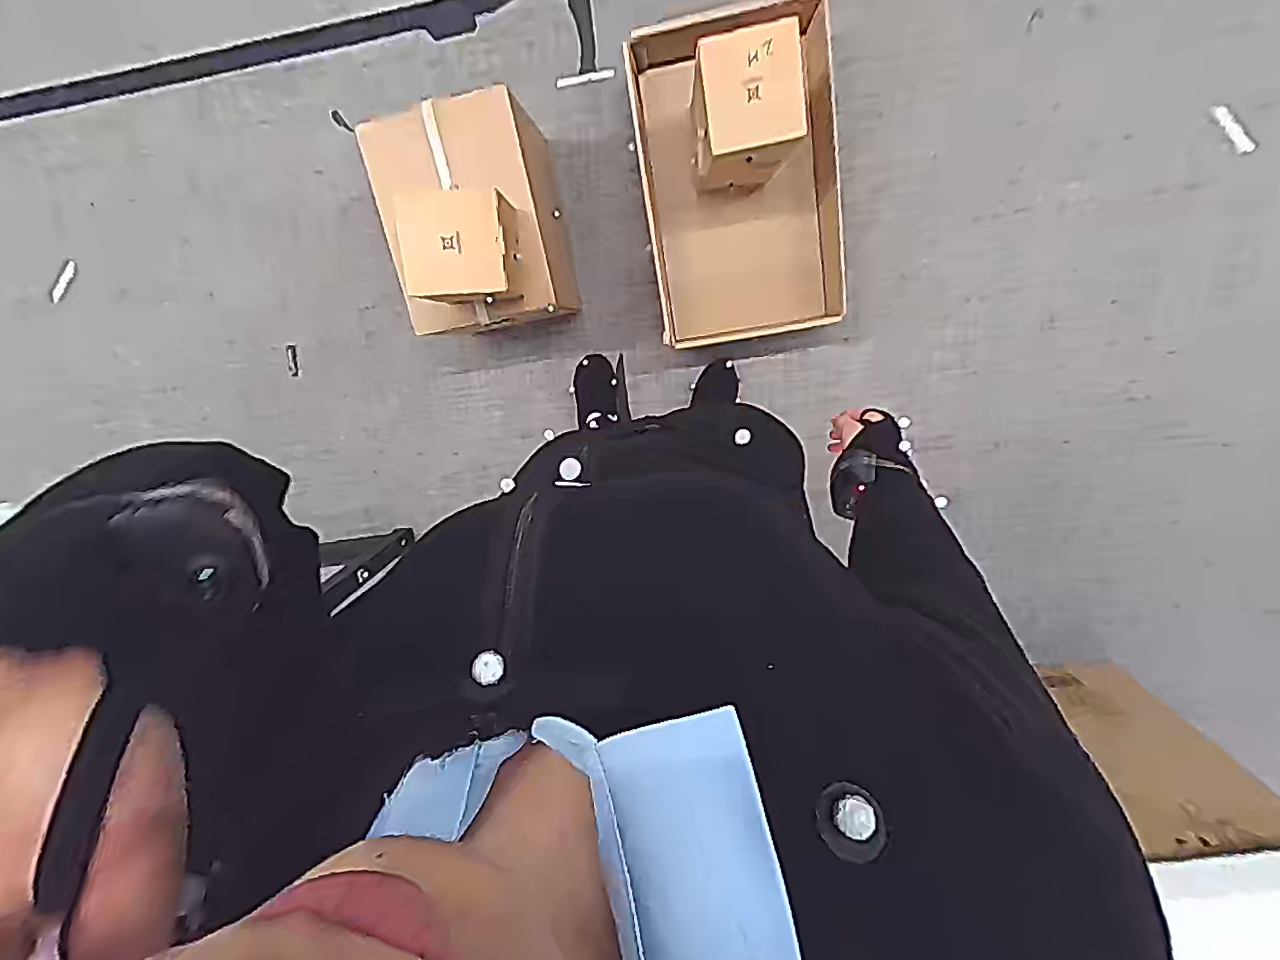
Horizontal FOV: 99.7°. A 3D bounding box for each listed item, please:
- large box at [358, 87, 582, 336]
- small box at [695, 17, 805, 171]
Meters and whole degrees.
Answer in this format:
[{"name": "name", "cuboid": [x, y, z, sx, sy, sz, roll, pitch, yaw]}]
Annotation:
[{"name": "large box", "cuboid": [-0.343, -0.558, 1.208, 0.320, 0.320, 0.408, -10, 106, 8]}, {"name": "small box", "cuboid": [0.194, -0.680, 0.980, 0.168, 0.176, 0.179, -9, 107, 5]}]
